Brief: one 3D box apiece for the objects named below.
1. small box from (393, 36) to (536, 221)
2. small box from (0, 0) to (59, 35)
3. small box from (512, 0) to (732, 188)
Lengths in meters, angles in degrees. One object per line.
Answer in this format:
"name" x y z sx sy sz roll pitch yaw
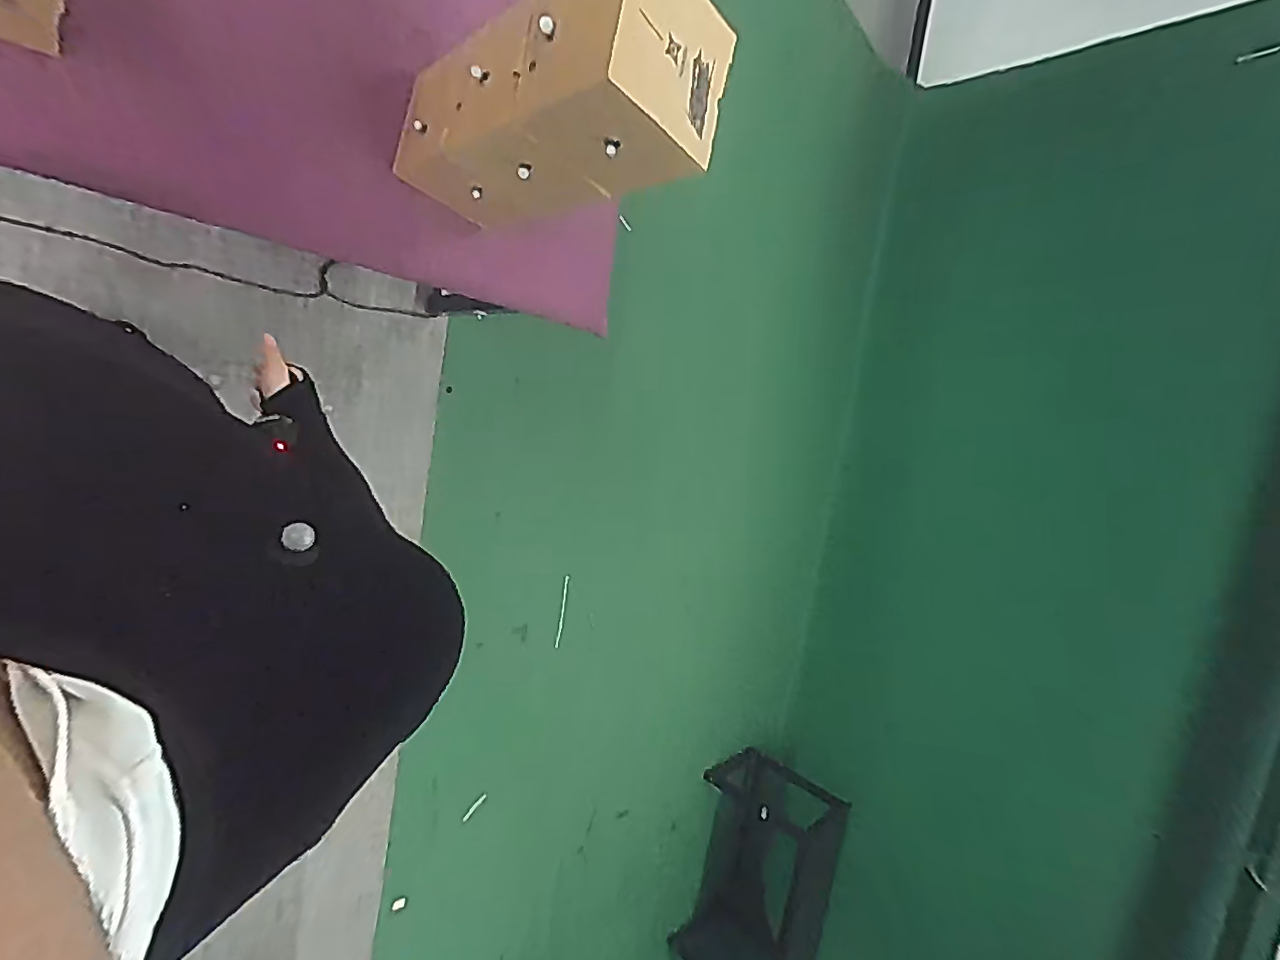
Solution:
"small box" -0.262 -0.536 0.860 0.179 0.176 0.168 17 88 -49
"small box" -0.627 -0.523 0.455 0.179 0.176 0.168 -7 106 -47
"small box" -0.021 -0.475 0.646 0.179 0.176 0.168 10 93 -48
